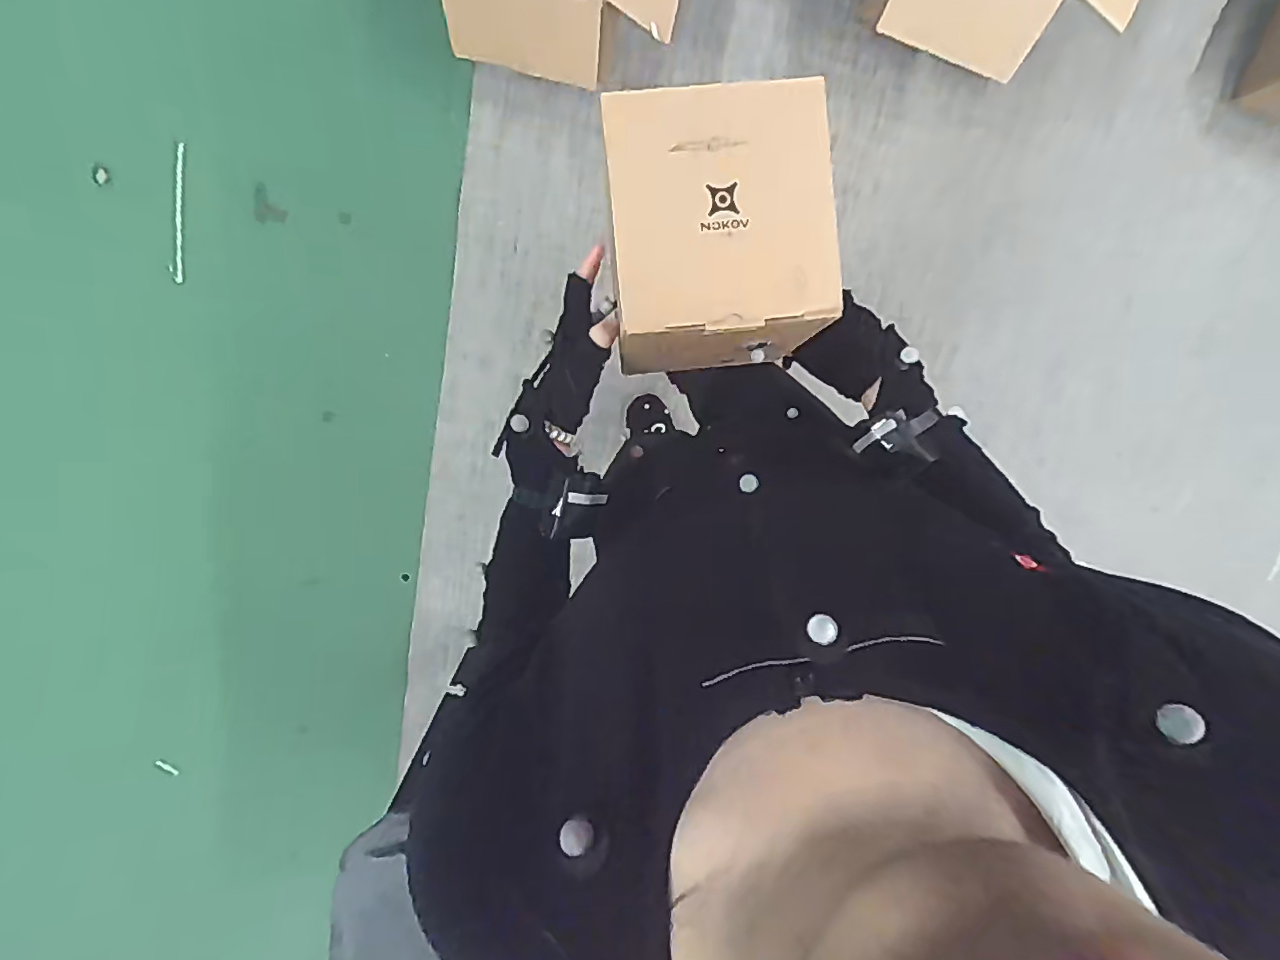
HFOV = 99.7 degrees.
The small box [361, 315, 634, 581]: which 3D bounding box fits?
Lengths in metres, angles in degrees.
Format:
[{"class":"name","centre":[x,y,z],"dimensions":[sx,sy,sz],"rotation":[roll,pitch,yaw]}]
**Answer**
[{"class":"small box","centre":[-0.125,-0.025,0.533],"dimensions":[0.176,0.168,0.179],"rotation":[40,79,8]}]

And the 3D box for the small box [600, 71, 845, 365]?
[{"class":"small box","centre":[0.058,-0.203,0.469],"dimensions":[0.168,0.176,0.179],"rotation":[-6,90,-3]}]
